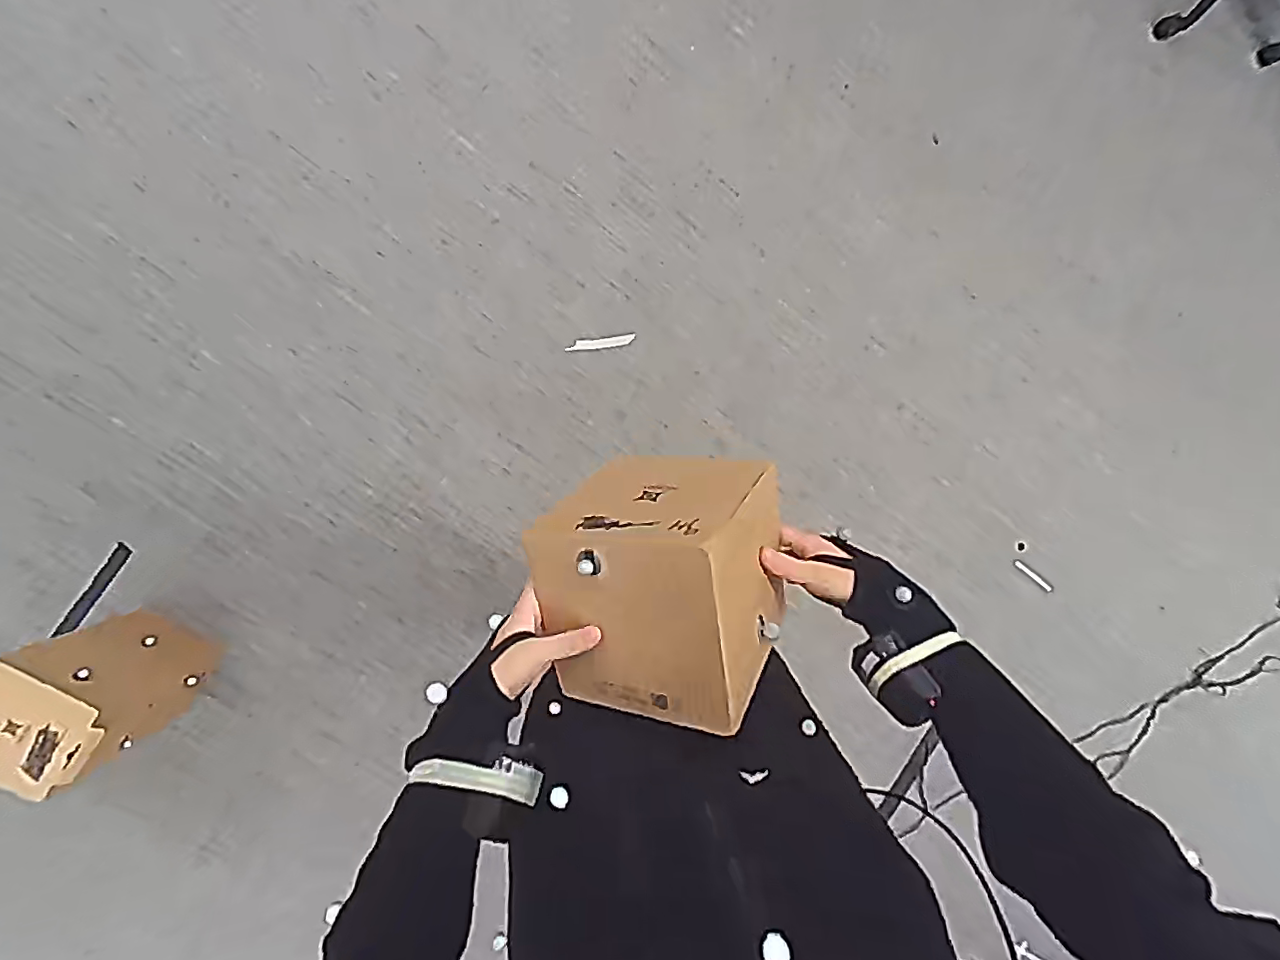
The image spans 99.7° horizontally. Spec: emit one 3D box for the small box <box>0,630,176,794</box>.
[{"bbox_3d":[-0.957,0.378,0.914,0.179,0.176,0.168,32,86,-8],"label":"small box"}]

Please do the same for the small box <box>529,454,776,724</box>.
[{"bbox_3d":[0.025,0.084,0.499,0.168,0.179,0.176,2,112,27],"label":"small box"}]

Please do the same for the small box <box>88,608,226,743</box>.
[{"bbox_3d":[-0.987,0.377,1.076,0.179,0.176,0.168,31,86,-8],"label":"small box"}]
